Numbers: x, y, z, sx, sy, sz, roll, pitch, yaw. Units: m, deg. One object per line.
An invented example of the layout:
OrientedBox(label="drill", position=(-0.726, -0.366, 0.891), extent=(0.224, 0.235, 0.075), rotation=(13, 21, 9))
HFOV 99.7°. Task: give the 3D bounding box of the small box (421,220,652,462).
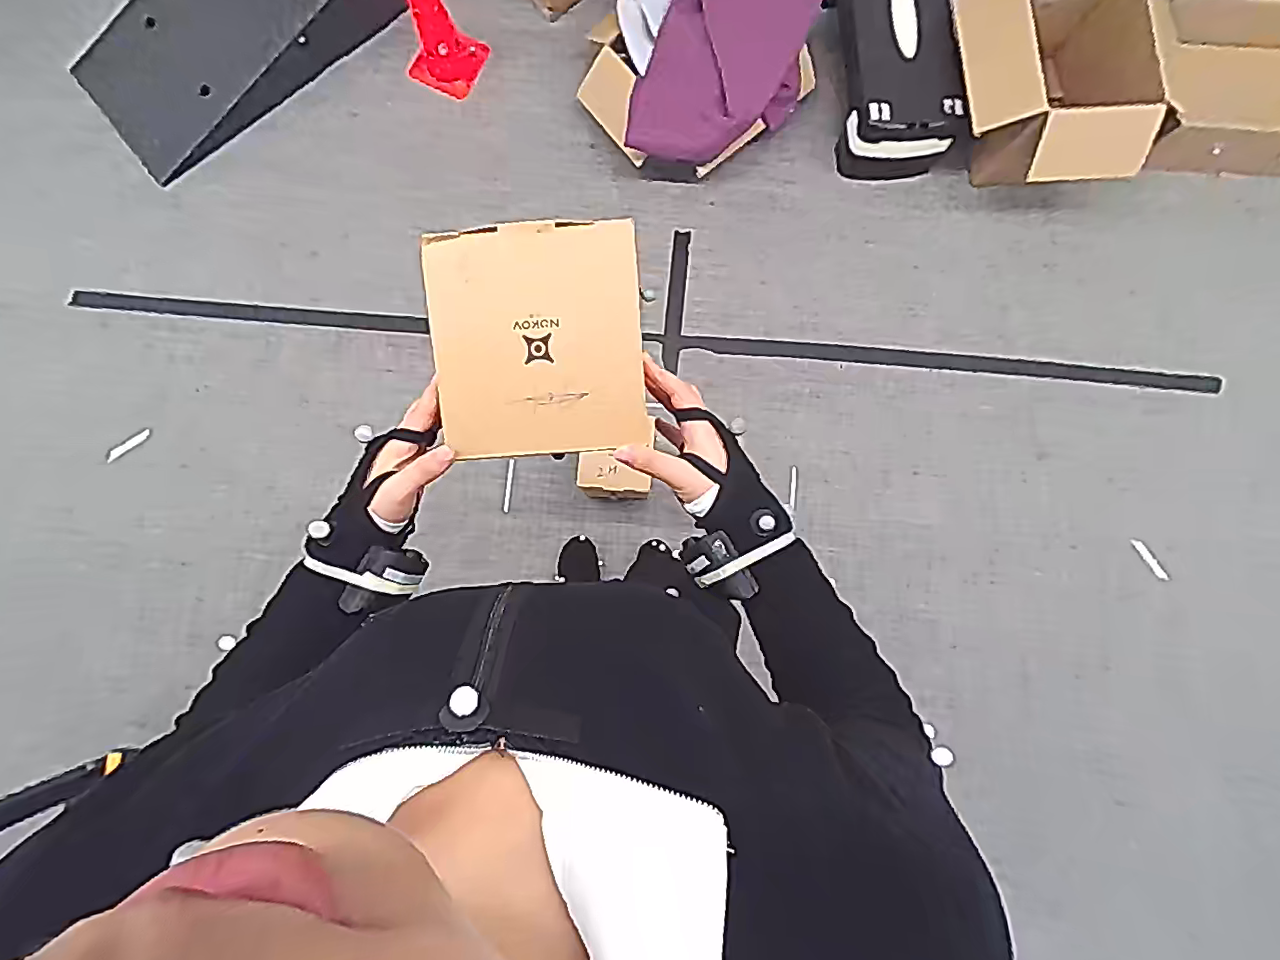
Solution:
OrientedBox(label="small box", position=(-0.078, -0.115, 0.494), extent=(0.168, 0.176, 0.179), rotation=(-4, 99, 1))

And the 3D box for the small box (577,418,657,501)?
OrientedBox(label="small box", position=(-0.053, -0.050, 1.278), extent=(0.168, 0.176, 0.179), rotation=(5, 84, 0))
